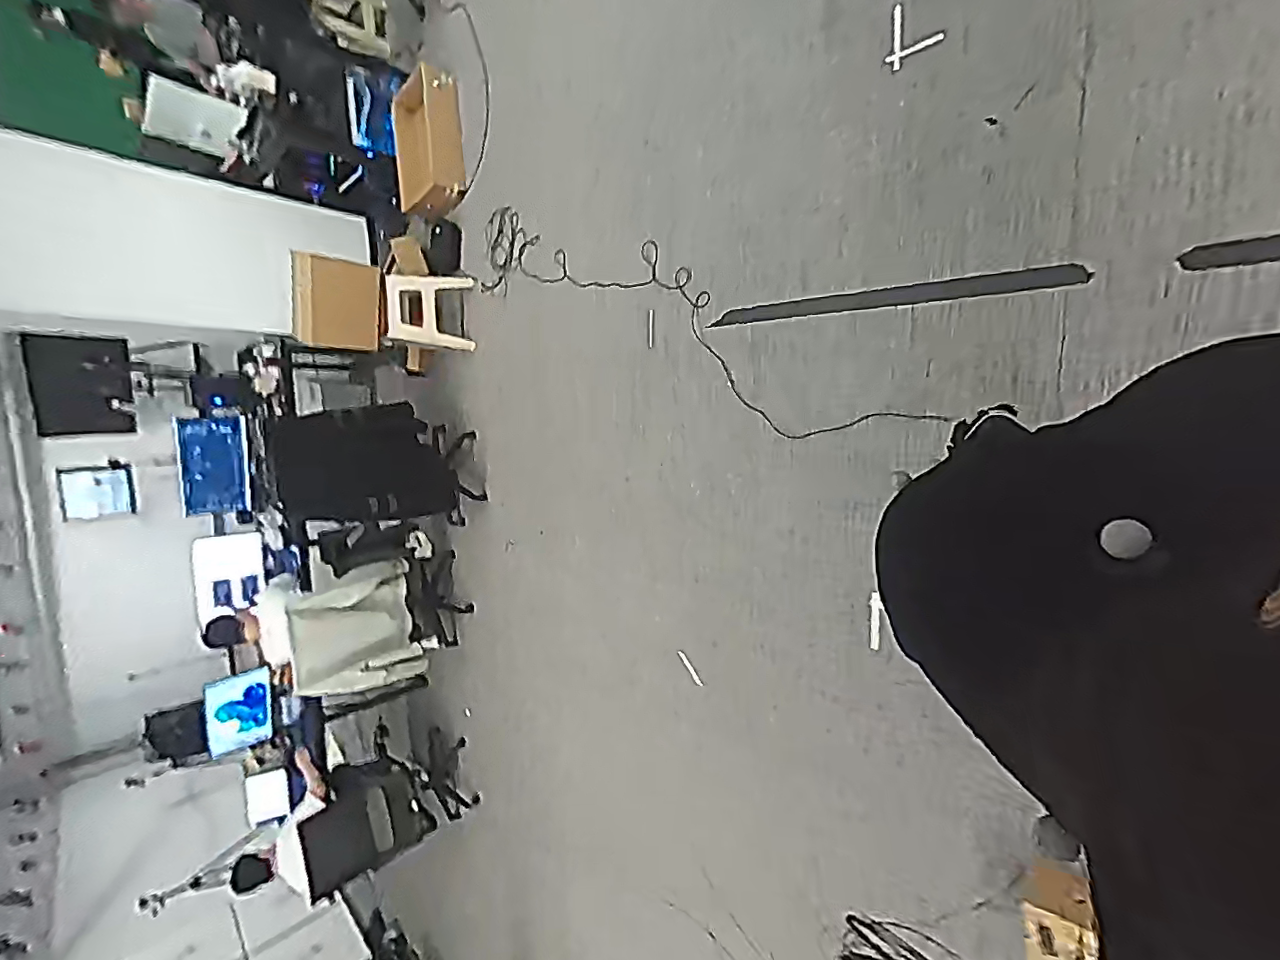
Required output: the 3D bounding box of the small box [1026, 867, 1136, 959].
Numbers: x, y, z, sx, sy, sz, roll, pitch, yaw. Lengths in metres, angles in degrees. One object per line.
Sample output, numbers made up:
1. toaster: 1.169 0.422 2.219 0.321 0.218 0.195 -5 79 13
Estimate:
1. small box: 1.000 1.027 1.224 0.179 0.176 0.168 -2 94 44
